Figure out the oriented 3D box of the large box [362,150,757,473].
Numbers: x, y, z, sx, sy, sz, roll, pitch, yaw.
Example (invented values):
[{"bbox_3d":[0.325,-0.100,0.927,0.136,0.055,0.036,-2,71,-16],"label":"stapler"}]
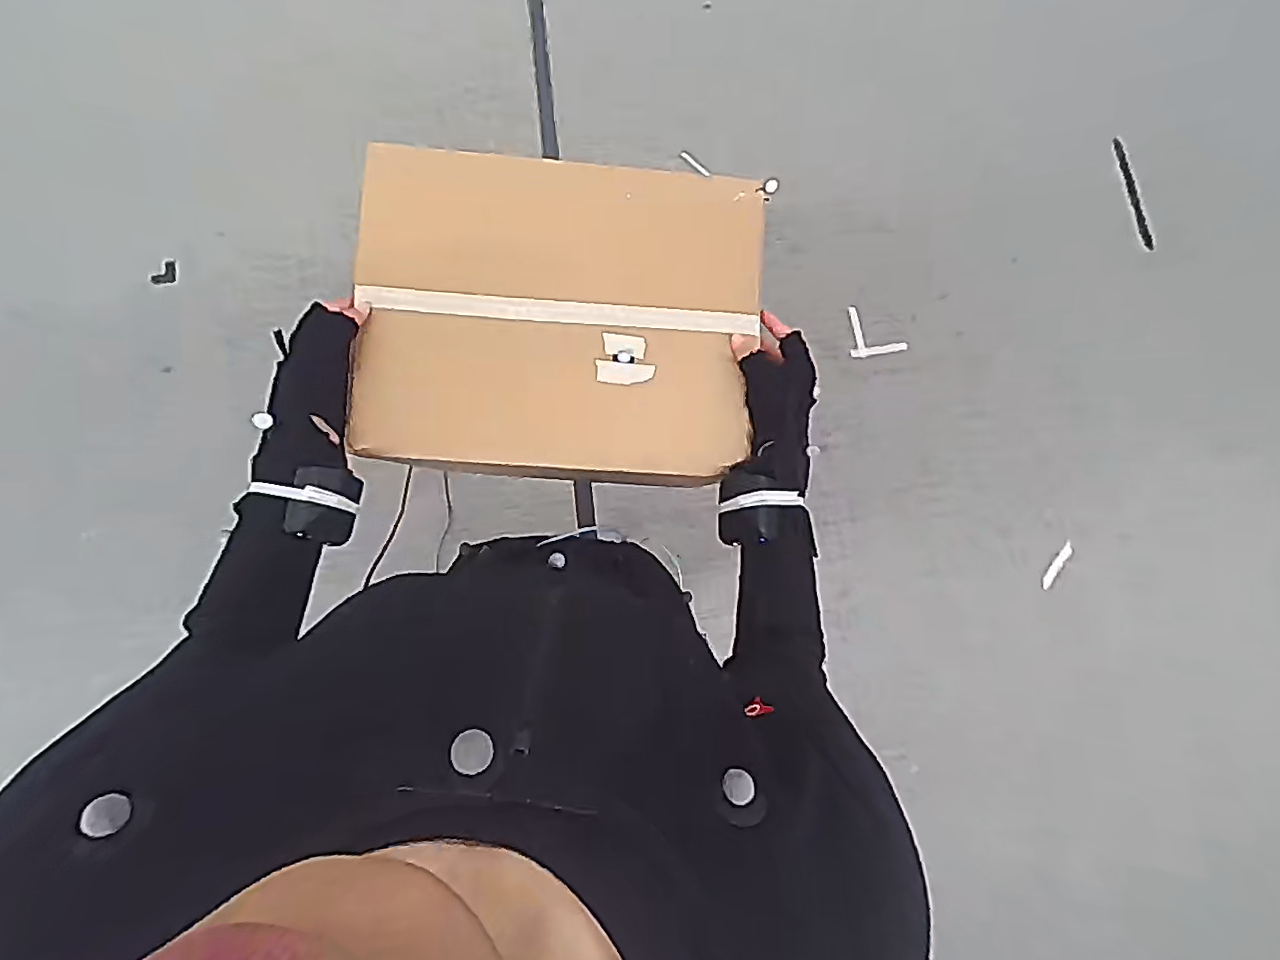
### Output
[{"bbox_3d":[-0.089,-0.175,0.710,0.408,0.320,0.320,3,89,-4],"label":"large box"}]
